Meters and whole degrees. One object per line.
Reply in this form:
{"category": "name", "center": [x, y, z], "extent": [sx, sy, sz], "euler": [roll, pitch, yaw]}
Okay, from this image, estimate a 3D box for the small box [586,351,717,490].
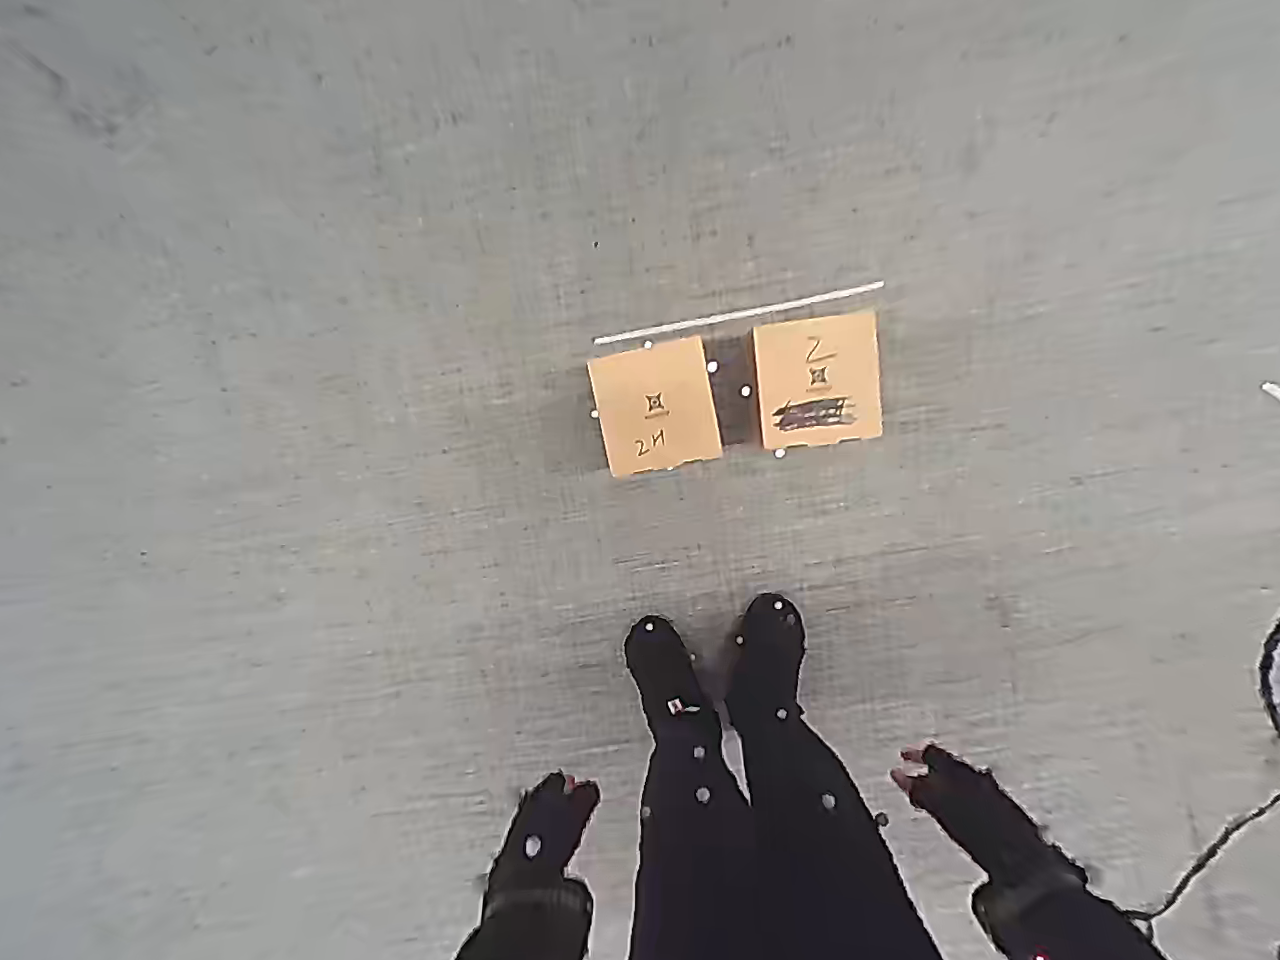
{"category": "small box", "center": [0.021, -0.091, 0.852], "extent": [0.168, 0.176, 0.179], "euler": [-11, 96, 5]}
